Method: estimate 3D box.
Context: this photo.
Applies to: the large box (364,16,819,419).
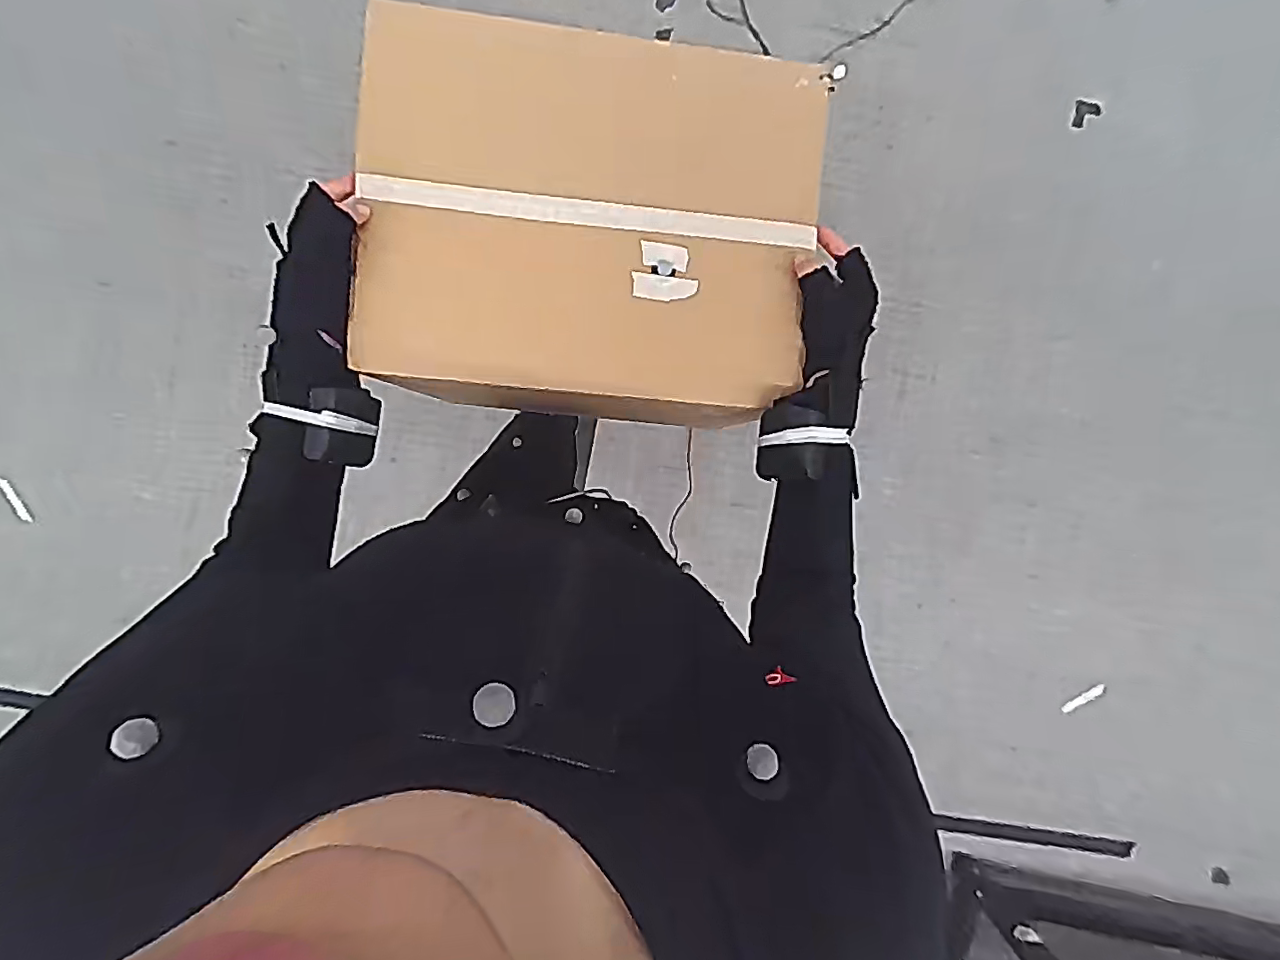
[{"bbox_3d":[-0.054,-0.247,0.640,0.408,0.320,0.320,5,93,-5],"label":"large box"}]
